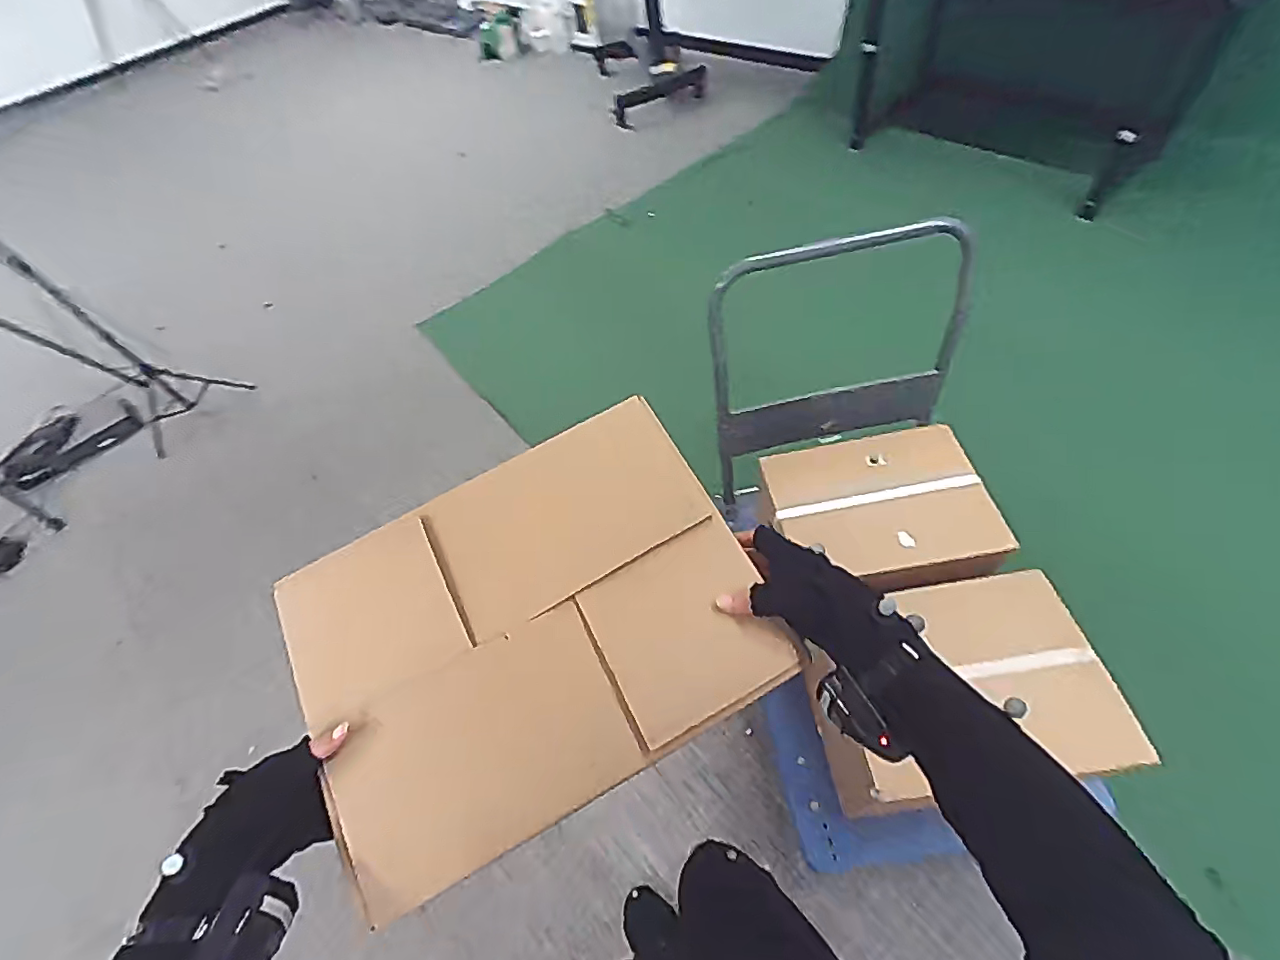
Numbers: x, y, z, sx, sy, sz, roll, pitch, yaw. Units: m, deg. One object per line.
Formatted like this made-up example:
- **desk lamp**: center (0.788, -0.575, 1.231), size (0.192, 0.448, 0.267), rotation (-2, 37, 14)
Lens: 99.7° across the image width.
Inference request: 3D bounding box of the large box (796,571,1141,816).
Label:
- **large box**: center (0.534, 0.402, 0.990), size (0.408, 0.320, 0.320), rotation (-10, 53, 4)
